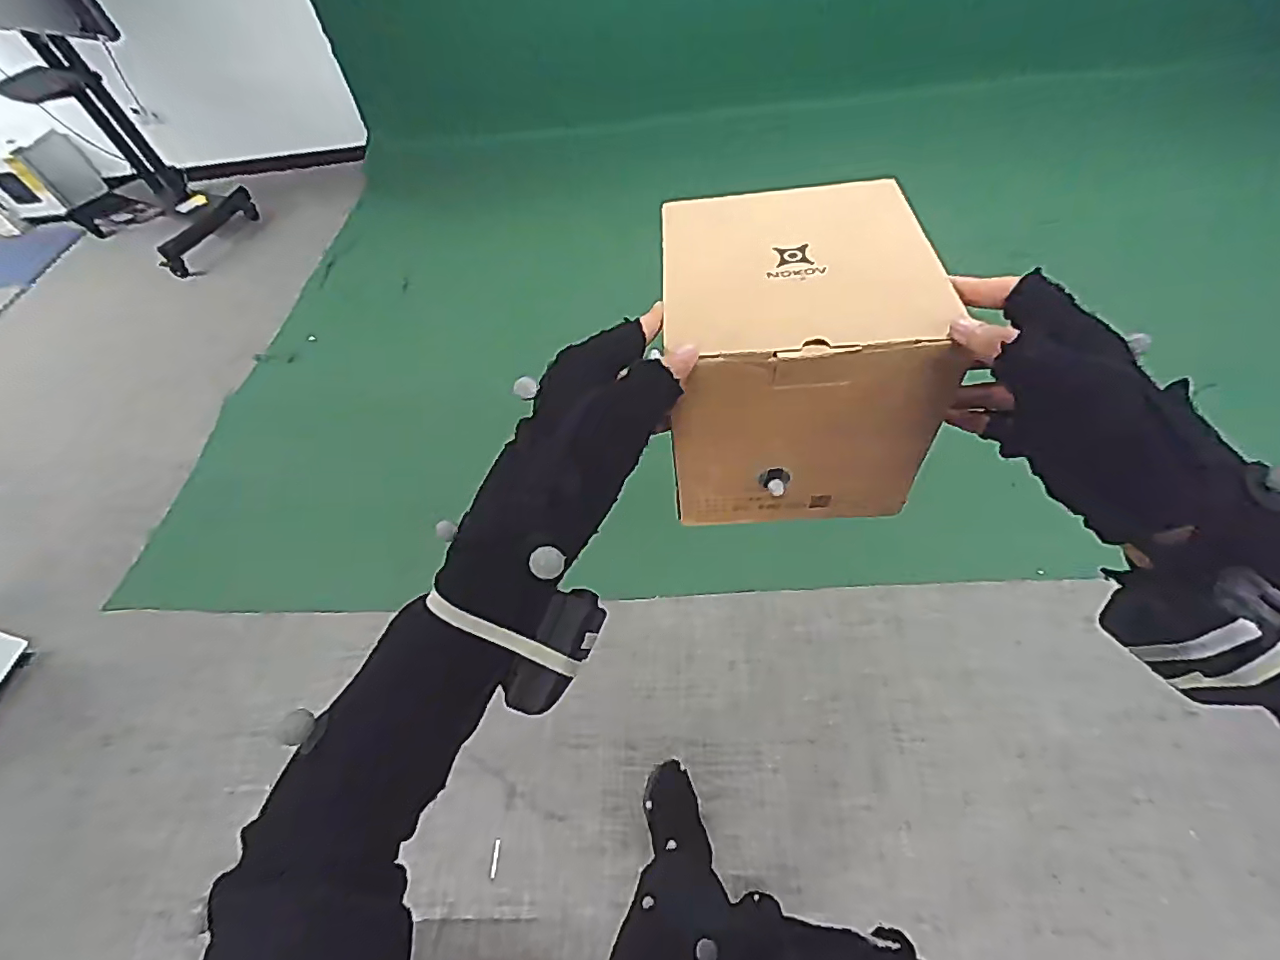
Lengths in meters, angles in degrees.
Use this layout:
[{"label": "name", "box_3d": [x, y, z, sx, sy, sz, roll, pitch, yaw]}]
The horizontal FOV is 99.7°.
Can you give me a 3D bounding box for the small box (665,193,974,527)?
[{"label": "small box", "box_3d": [0.106, -0.084, 0.405, 0.168, 0.176, 0.179, -4, 53, 6]}]
